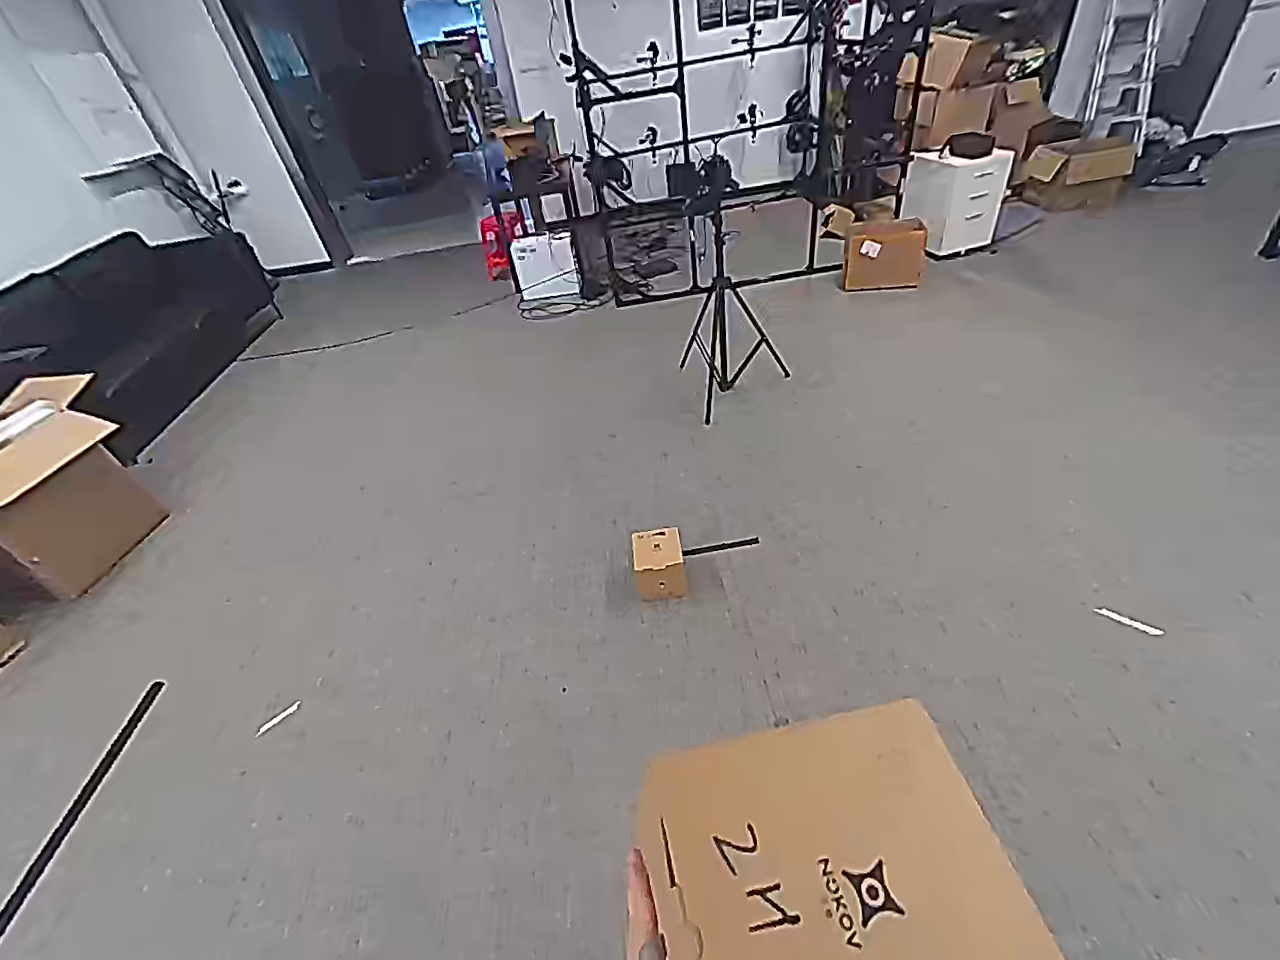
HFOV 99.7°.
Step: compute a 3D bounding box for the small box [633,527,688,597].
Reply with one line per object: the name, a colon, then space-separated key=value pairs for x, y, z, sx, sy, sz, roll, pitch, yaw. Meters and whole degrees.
small box: x=0.073 y=0.293 z=1.890 sx=0.168 sy=0.176 sz=0.179 roll=-8 pitch=40 yaw=3
